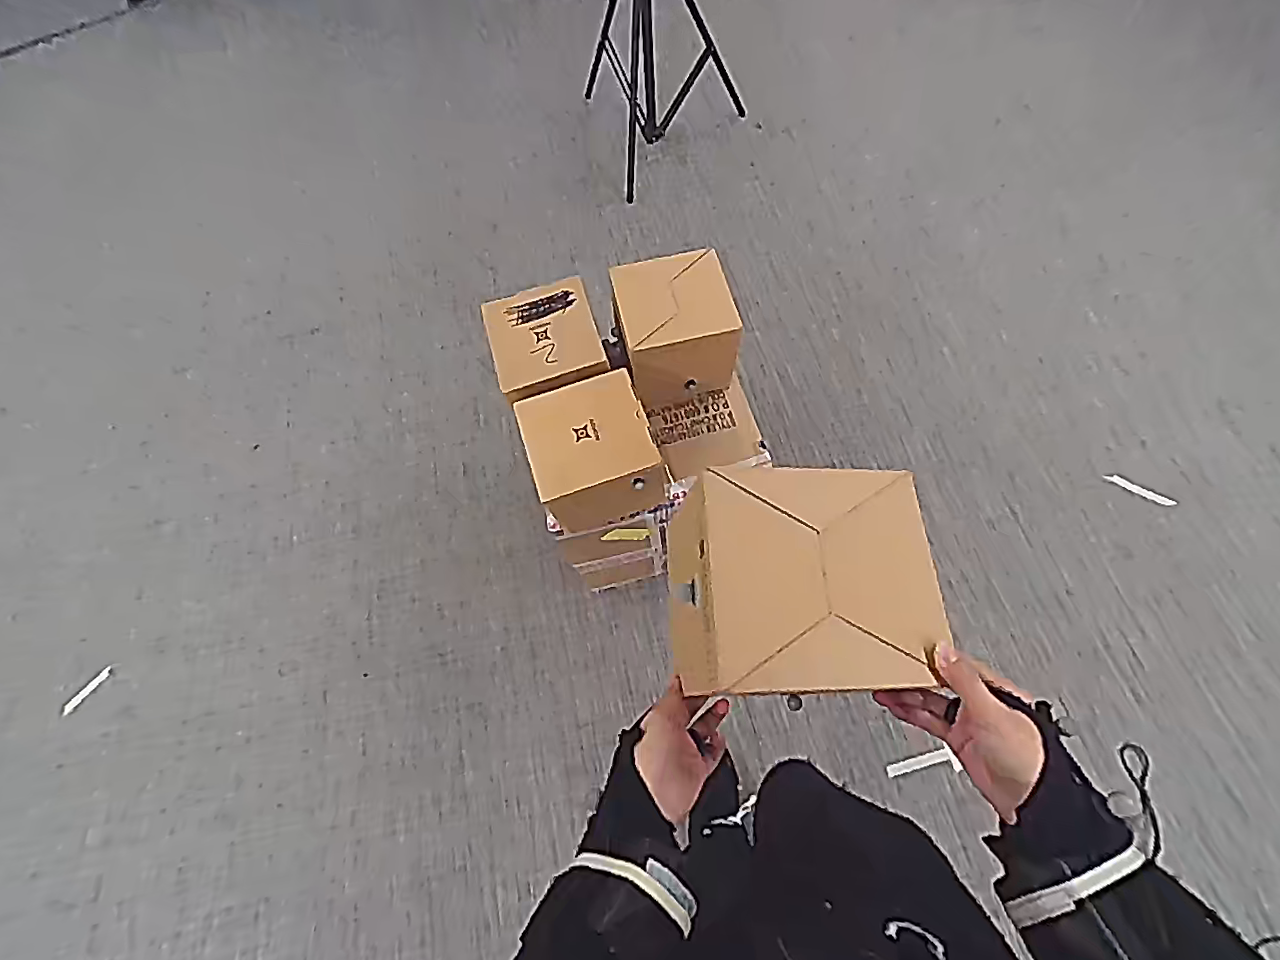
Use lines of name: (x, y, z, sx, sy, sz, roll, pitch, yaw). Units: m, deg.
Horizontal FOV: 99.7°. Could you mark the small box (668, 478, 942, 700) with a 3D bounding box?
small box: (0.128, 0.105, 0.482, 0.179, 0.176, 0.168, 2, 66, -8)
